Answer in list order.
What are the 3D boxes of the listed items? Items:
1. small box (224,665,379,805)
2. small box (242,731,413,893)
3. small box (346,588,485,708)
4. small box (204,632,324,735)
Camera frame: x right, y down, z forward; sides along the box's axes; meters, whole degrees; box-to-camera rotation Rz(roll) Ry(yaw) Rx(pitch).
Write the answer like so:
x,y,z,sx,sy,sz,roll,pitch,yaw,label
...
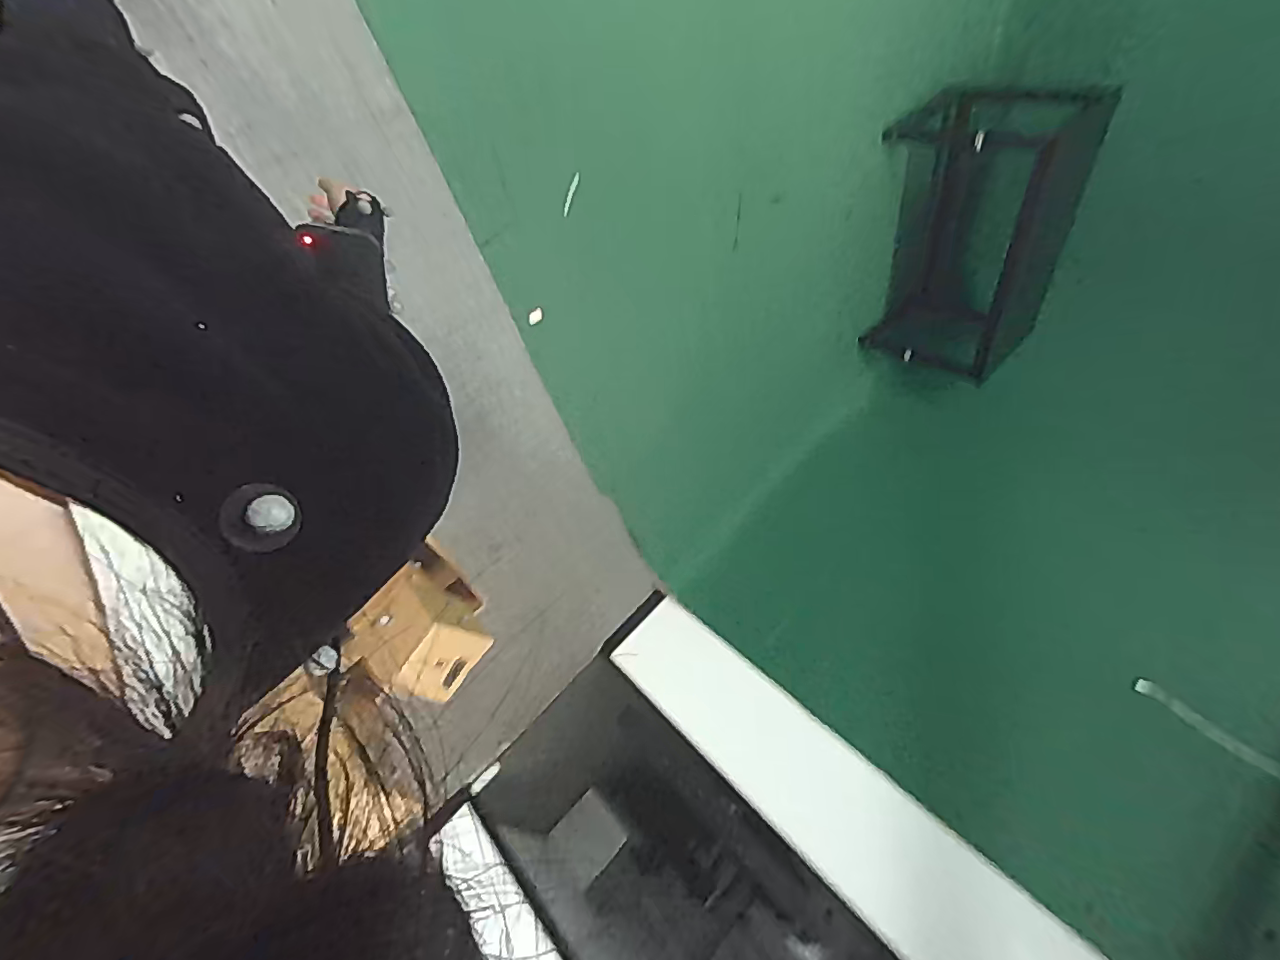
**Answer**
x,y,z,sx,sy,sz,roll,pitch,yaw,label
-0.654,0.495,1.040,0.179,0.176,0.168,-48,145,-14,small box
-0.546,0.575,0.948,0.168,0.176,0.179,-43,143,-21,small box
-0.472,0.351,1.139,0.168,0.176,0.179,-53,143,-6,small box
-0.776,0.452,1.145,0.168,0.176,0.179,-35,138,-27,small box
